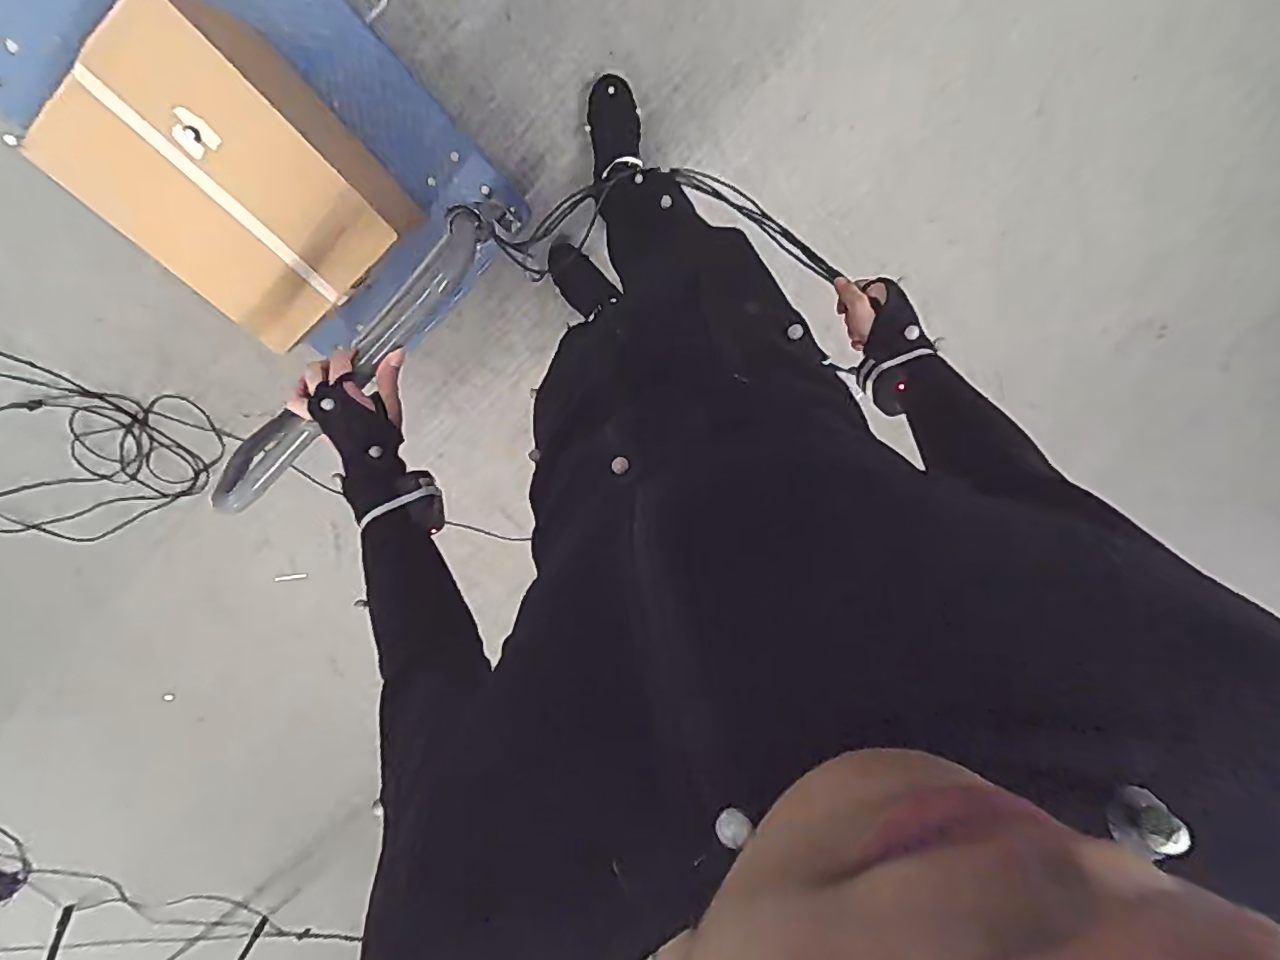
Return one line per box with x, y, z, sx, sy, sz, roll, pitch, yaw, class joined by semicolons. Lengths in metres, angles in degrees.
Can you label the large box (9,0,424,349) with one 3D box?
-0.659;-0.510;0.935;0.320;0.320;0.408;-37;119;12;large box
